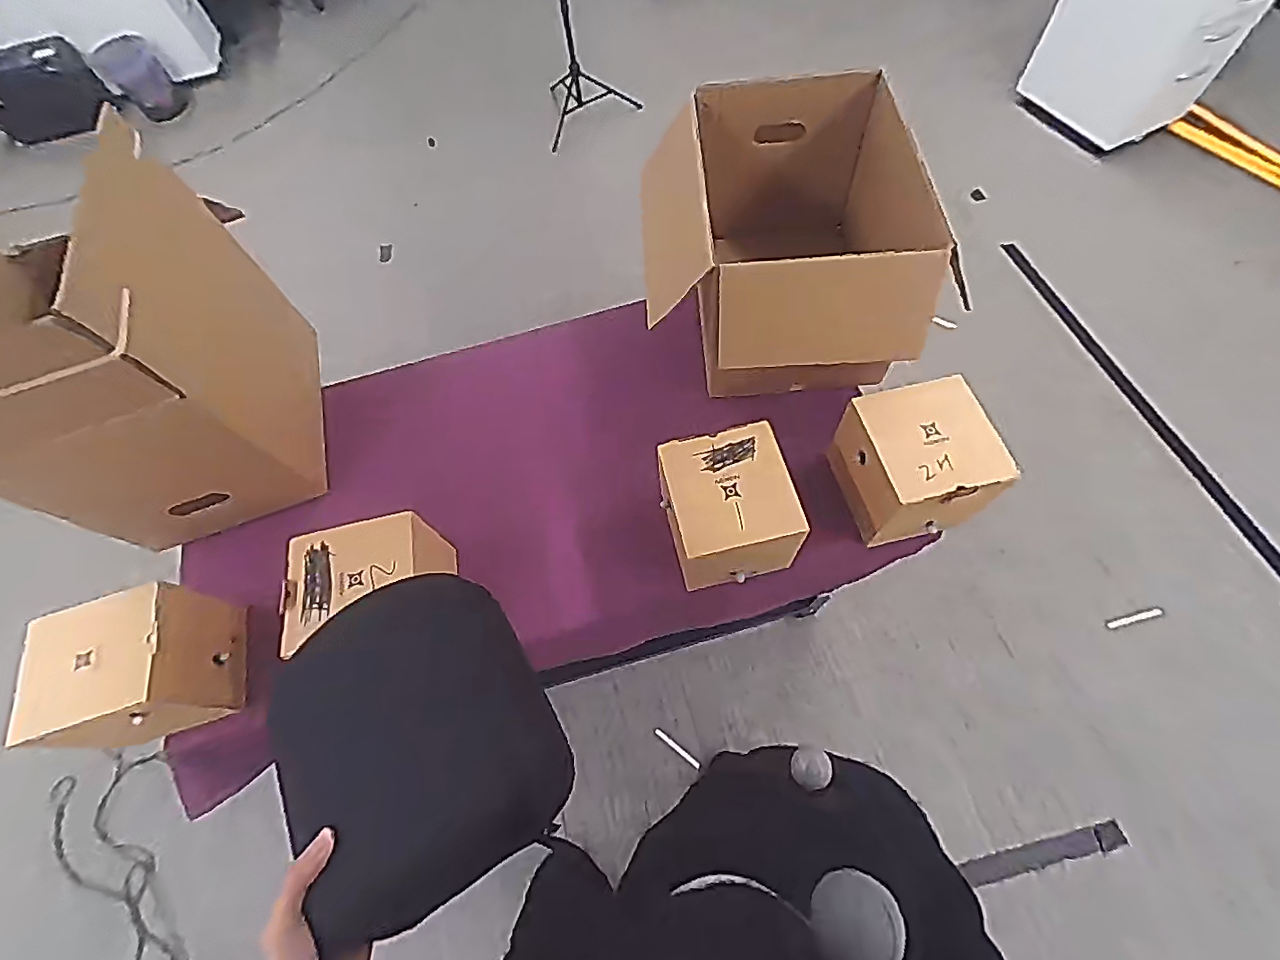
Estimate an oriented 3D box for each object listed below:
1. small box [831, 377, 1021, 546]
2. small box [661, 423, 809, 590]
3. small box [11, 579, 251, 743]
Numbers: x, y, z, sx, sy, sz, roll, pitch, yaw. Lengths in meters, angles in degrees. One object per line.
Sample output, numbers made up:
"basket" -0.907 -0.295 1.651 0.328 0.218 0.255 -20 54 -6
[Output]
"small box" 0.405 -0.022 0.806 0.168 0.176 0.179 -13 63 0
"small box" 0.129 0.045 0.803 0.168 0.176 0.179 -13 64 -1
"small box" -0.708 0.267 0.776 0.179 0.176 0.168 -18 63 -5
